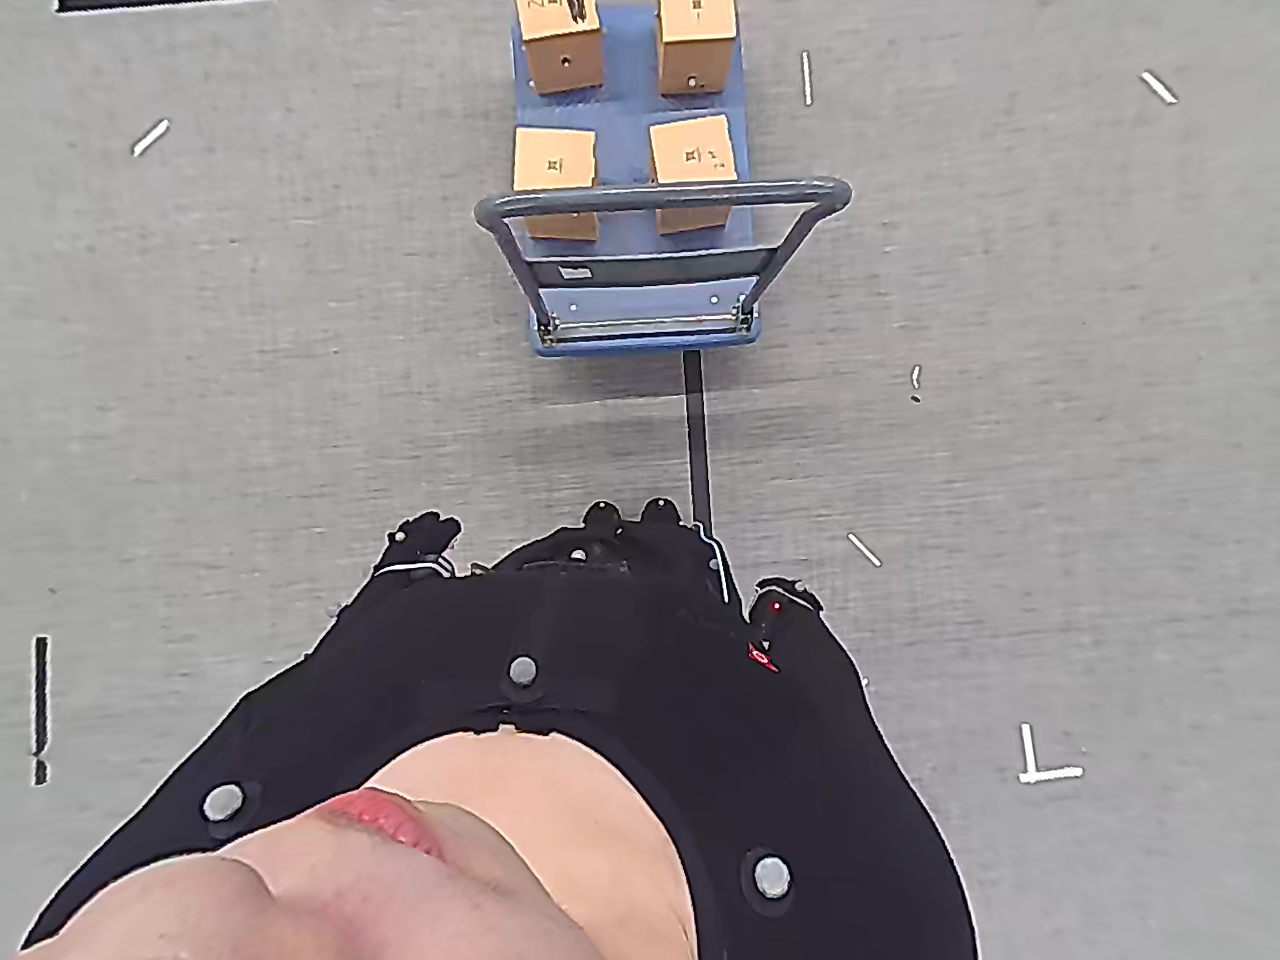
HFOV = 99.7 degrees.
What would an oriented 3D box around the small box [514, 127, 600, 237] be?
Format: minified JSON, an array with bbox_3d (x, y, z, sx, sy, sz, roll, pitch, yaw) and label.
[{"bbox_3d":[-0.189,-0.691,1.271,0.179,0.176,0.168,2,88,-2],"label":"small box"}]

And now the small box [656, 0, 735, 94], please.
[{"bbox_3d":[0.126,-1.065,1.283,0.168,0.176,0.179,-4,89,0],"label":"small box"}]

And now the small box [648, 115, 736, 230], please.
[{"bbox_3d":[0.116,-0.713,1.273,0.179,0.176,0.168,-9,89,-1],"label":"small box"}]
